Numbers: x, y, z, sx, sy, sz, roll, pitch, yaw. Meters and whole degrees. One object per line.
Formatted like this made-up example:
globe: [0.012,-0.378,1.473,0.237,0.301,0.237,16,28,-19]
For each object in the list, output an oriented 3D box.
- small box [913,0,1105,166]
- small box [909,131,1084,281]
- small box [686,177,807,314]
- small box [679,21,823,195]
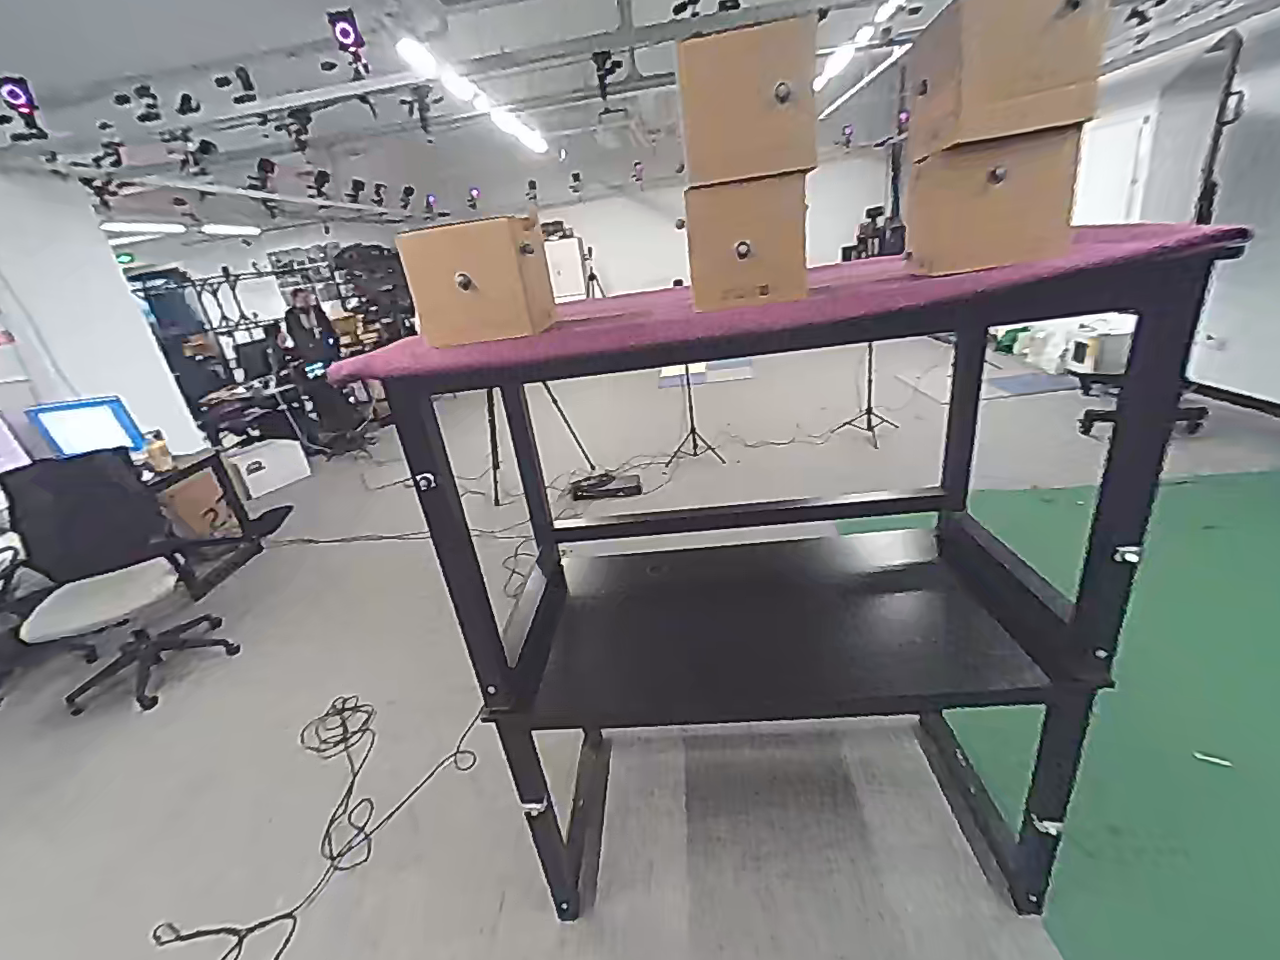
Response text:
small box: [0.497,-0.546,0.750,0.179,0.176,0.168,-5,22,8]
small box: [0.524,-0.402,0.823,0.179,0.176,0.168,-4,22,12]
small box: [0.164,-0.356,0.838,0.168,0.176,0.179,-4,23,8]
small box: [0.153,-0.500,0.763,0.179,0.176,0.168,-5,22,9]
